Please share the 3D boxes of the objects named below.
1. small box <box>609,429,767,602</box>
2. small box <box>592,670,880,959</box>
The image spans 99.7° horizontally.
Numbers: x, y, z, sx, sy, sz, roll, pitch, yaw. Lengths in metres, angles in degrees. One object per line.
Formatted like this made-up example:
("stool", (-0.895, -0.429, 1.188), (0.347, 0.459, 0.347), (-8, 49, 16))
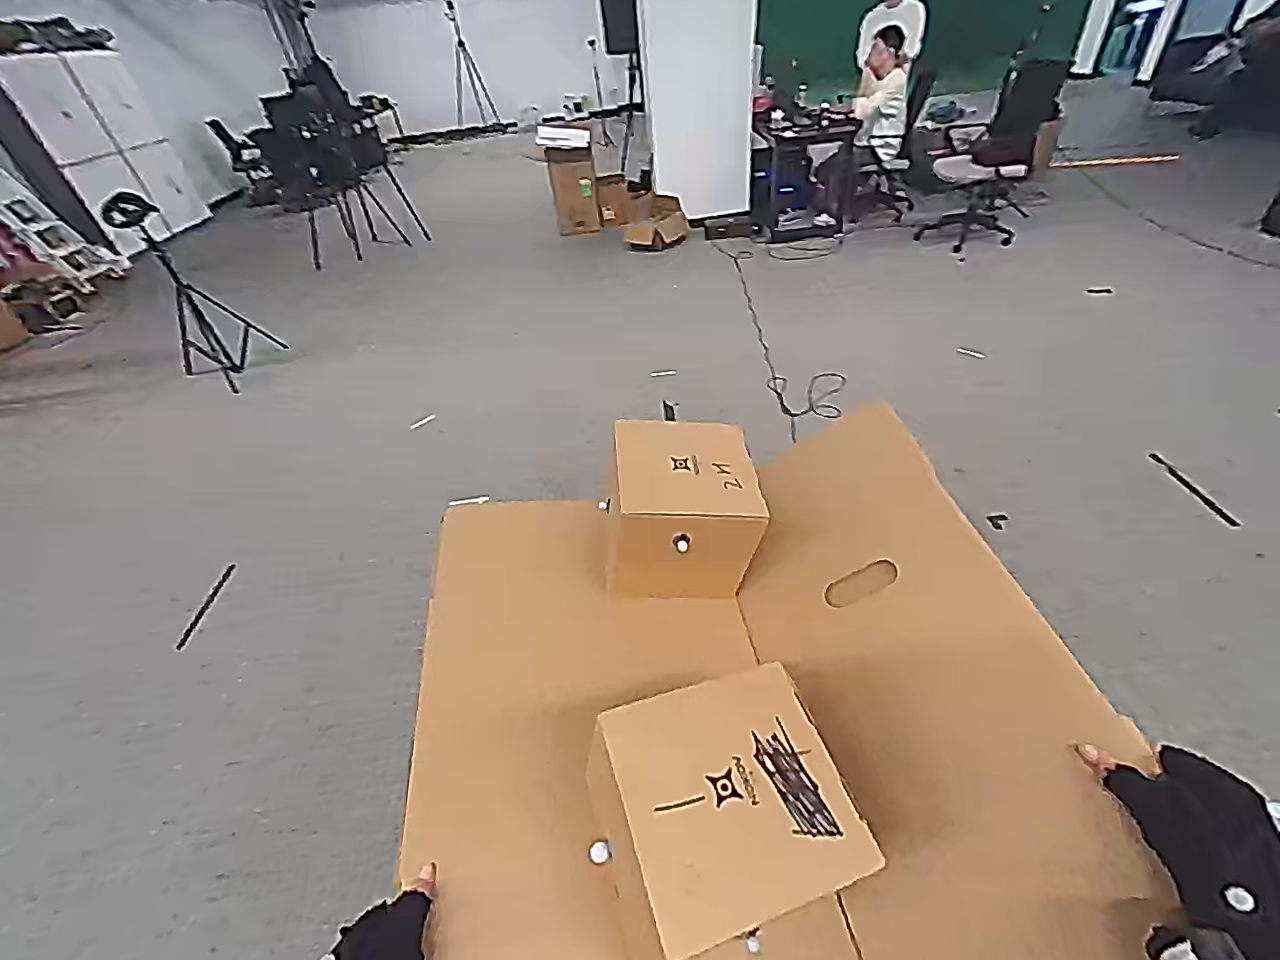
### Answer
("small box", (0.049, 0.051, 0.727), (0.179, 0.176, 0.168), (3, 45, -8))
("small box", (0.064, 0.299, 0.481), (0.179, 0.176, 0.168), (-9, 48, -18))
